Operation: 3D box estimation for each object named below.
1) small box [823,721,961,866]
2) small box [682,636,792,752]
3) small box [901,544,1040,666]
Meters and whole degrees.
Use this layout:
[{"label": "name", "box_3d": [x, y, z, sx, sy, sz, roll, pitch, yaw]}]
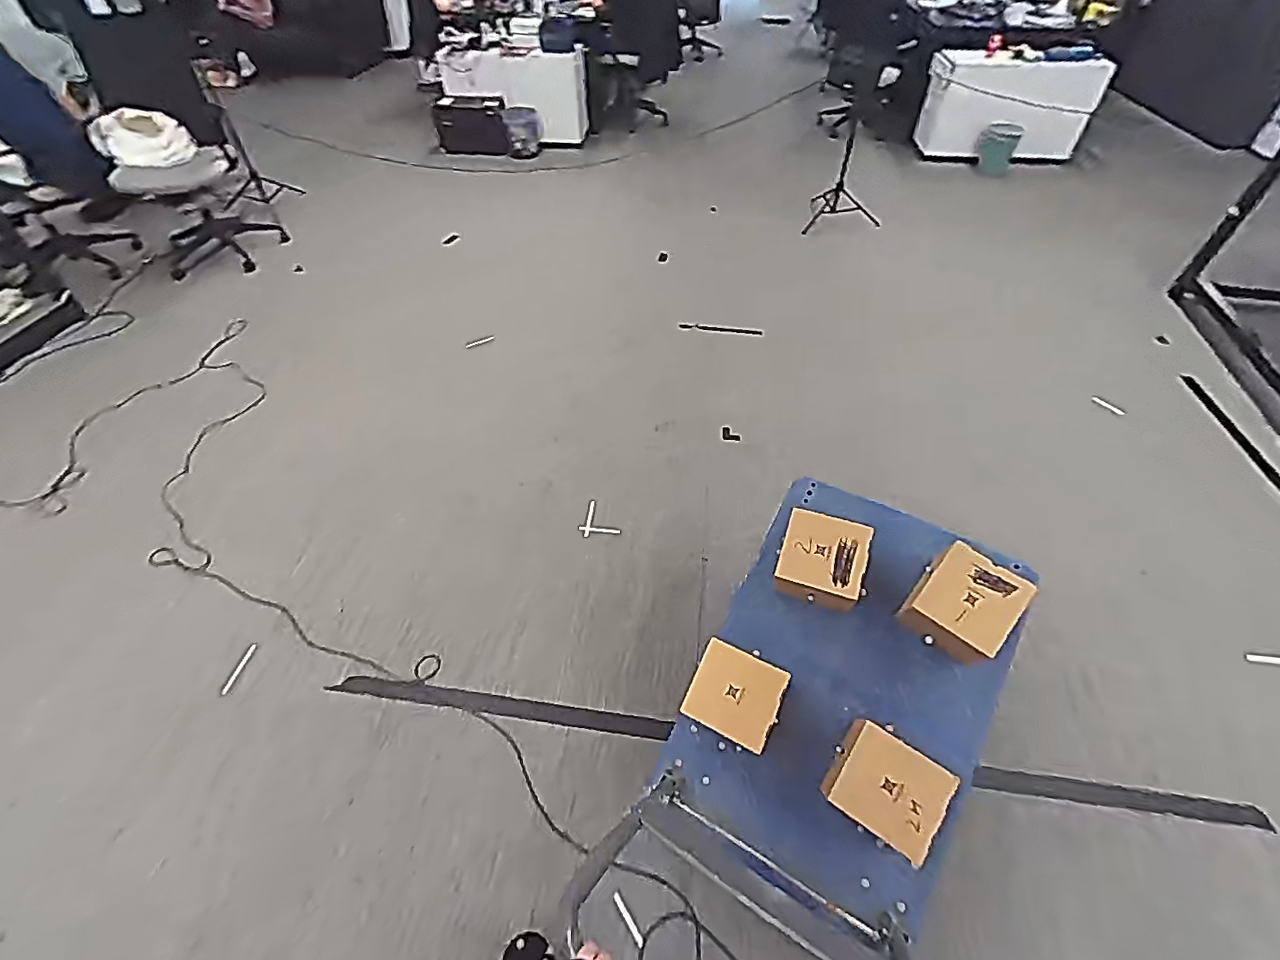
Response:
[{"label": "small box", "box_3d": [0.473, 0.593, 1.046, 0.179, 0.176, 0.168, 30, 77, 23]}, {"label": "small box", "box_3d": [0.209, 0.460, 1.164, 0.179, 0.176, 0.168, 23, 74, 19]}, {"label": "small box", "box_3d": [0.681, 0.268, 1.139, 0.168, 0.176, 0.179, 36, 80, 24]}]
